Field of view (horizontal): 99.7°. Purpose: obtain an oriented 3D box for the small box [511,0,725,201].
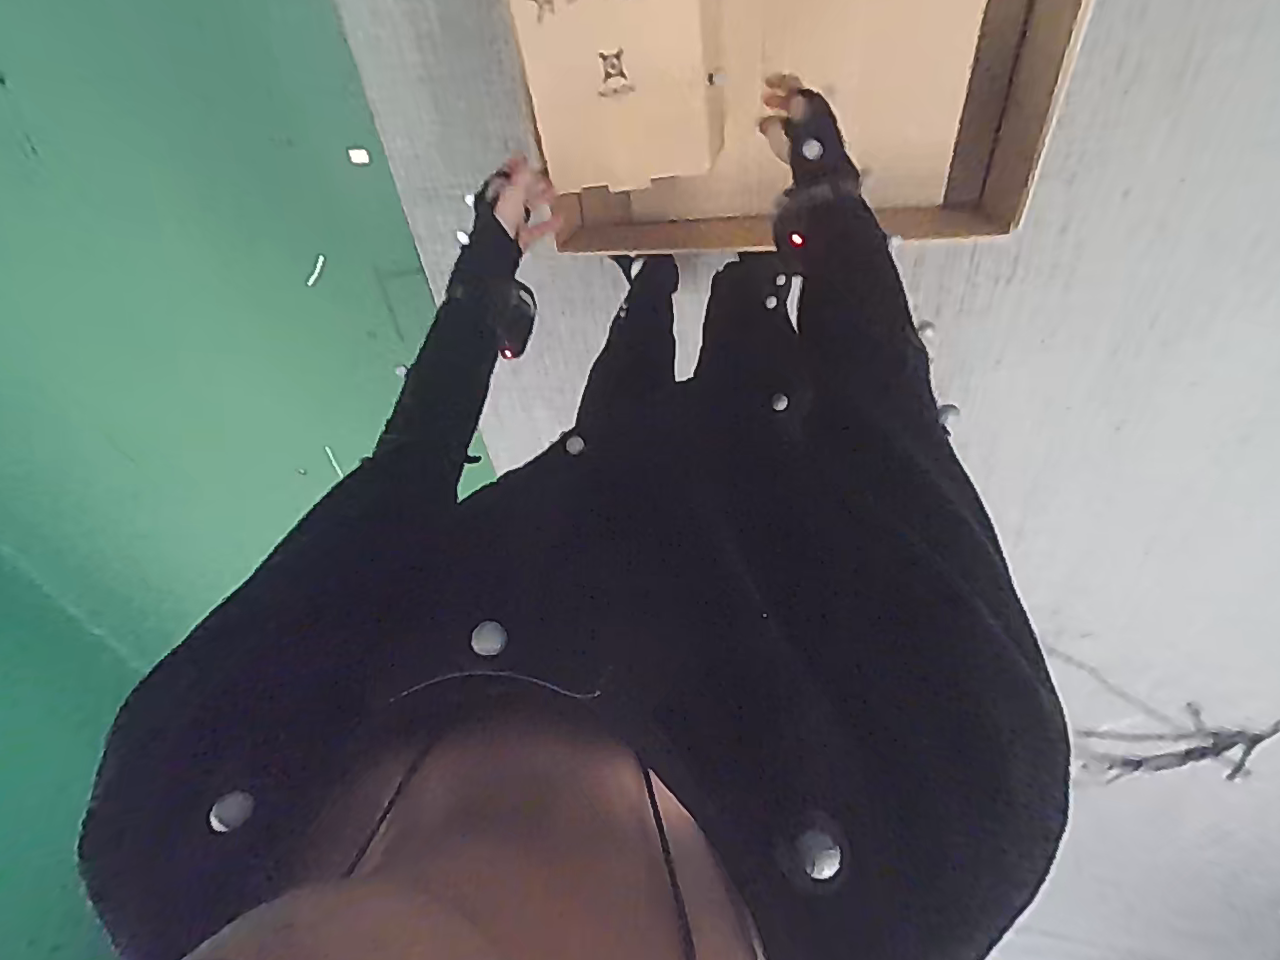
[{"bbox_3d":[-0.005,-0.406,0.550,0.168,0.176,0.179,1,129,15],"label":"small box"}]
